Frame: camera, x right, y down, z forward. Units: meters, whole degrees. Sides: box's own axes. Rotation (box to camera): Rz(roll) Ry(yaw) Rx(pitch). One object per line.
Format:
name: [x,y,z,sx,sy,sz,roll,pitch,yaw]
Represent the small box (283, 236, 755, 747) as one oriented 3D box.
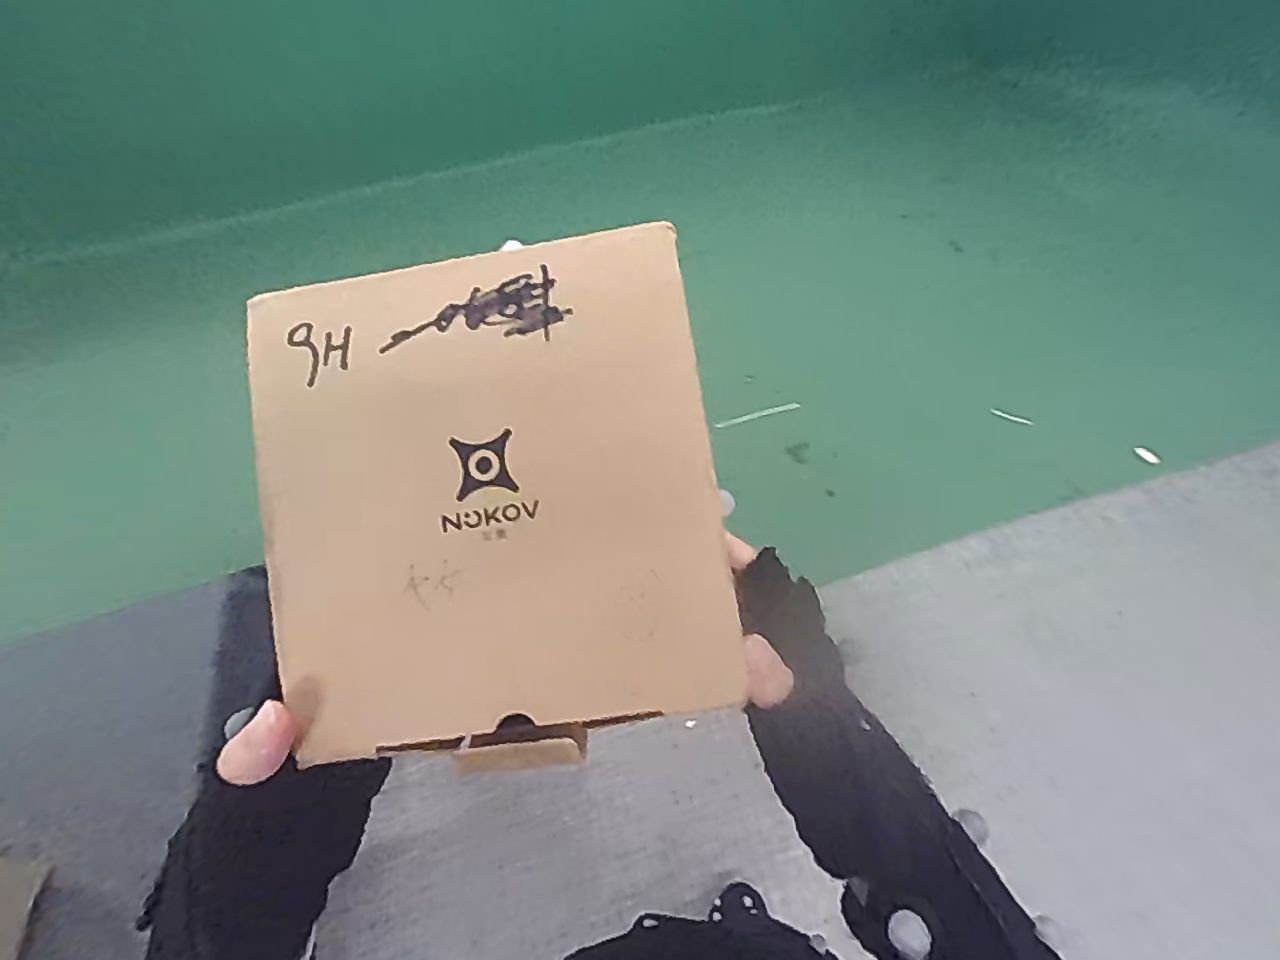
small box: [-0.043,0.008,0.282,0.168,0.176,0.179,-8,86,3]
